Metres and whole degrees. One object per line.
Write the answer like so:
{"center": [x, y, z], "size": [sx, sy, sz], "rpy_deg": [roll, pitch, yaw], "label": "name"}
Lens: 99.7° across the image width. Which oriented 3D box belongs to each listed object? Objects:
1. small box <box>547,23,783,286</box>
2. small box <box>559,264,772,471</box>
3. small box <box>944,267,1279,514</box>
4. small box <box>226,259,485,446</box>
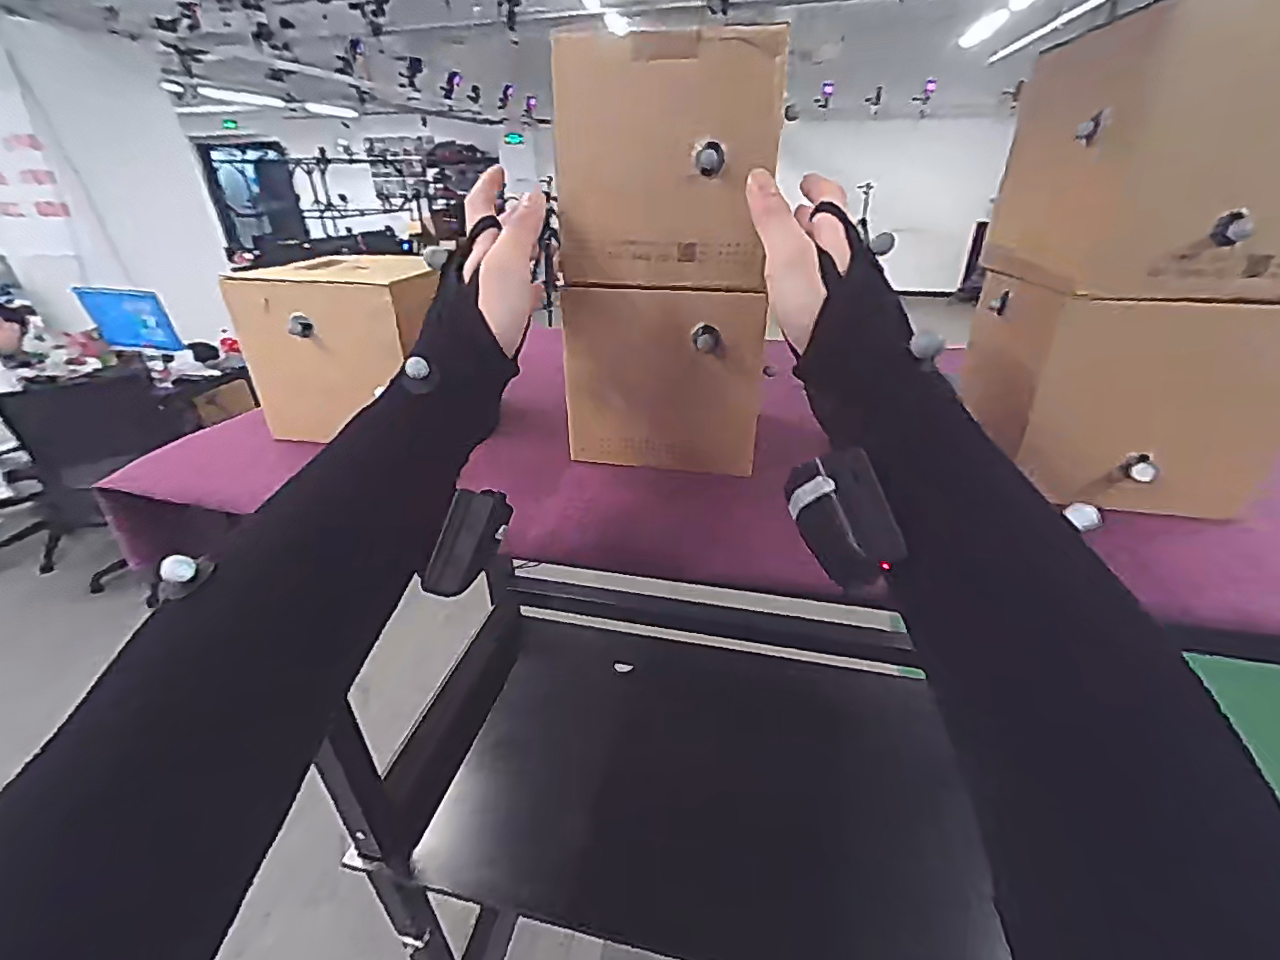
{"center": [0.032, -0.268, 0.476], "size": [0.168, 0.176, 0.179], "rpy_deg": [7, 28, 11], "label": "small box"}
{"center": [0.034, -0.120, 0.546], "size": [0.179, 0.176, 0.168], "rpy_deg": [5, 28, 12], "label": "small box"}
{"center": [0.397, -0.084, 0.470], "size": [0.179, 0.176, 0.168], "rpy_deg": [6, 27, 11], "label": "small box"}
{"center": [-0.293, -0.146, 0.600], "size": [0.179, 0.176, 0.168], "rpy_deg": [5, 29, 9], "label": "small box"}
